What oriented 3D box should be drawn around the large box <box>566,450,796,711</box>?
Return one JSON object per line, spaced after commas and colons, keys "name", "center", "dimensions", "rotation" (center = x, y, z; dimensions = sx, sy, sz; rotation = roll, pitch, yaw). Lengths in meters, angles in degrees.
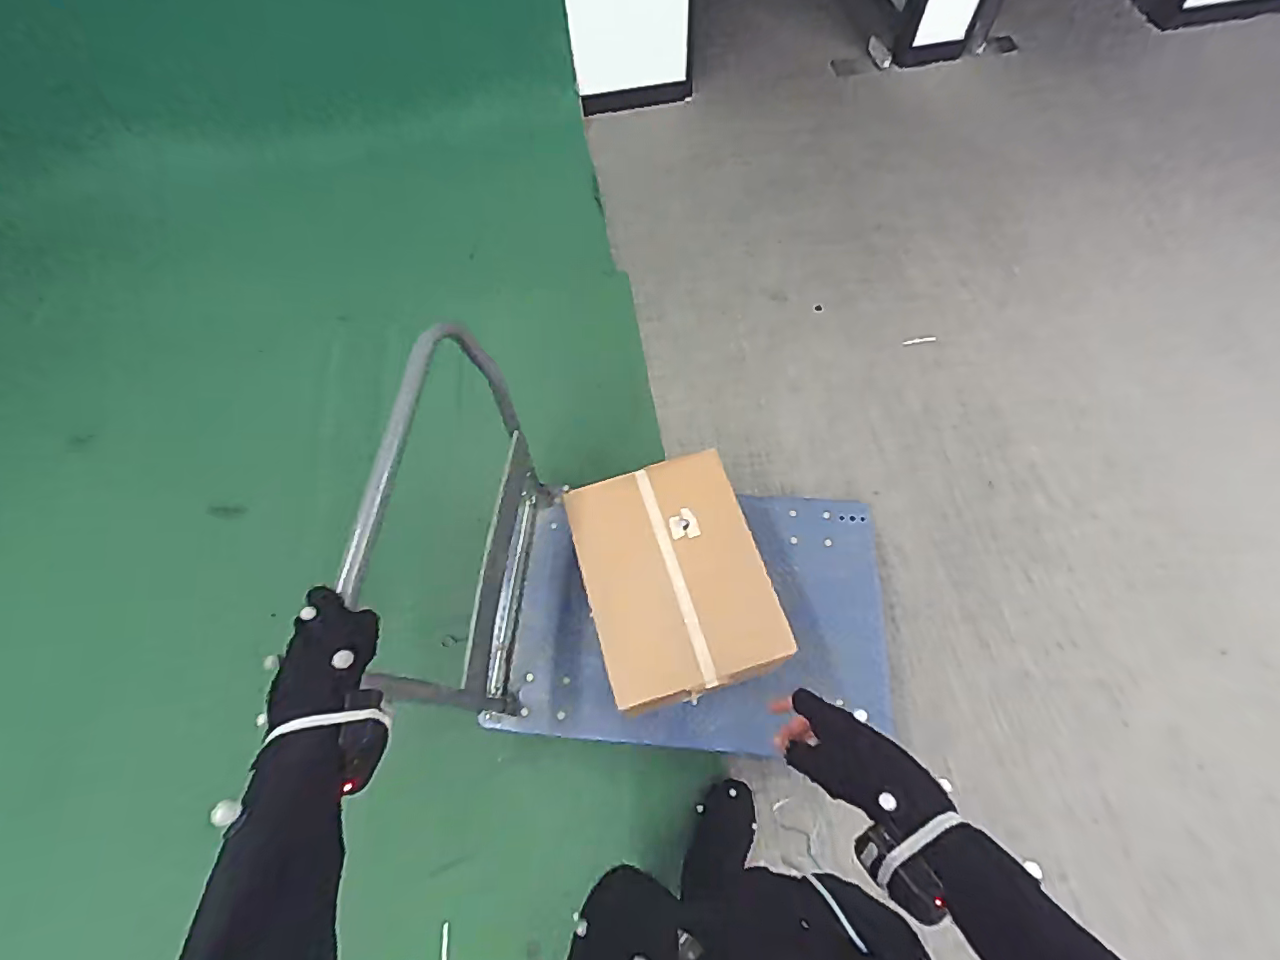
{"name": "large box", "center": [0.072, 0.216, 1.108], "dimensions": [0.320, 0.320, 0.408], "rotation": [-16, 64, -4]}
